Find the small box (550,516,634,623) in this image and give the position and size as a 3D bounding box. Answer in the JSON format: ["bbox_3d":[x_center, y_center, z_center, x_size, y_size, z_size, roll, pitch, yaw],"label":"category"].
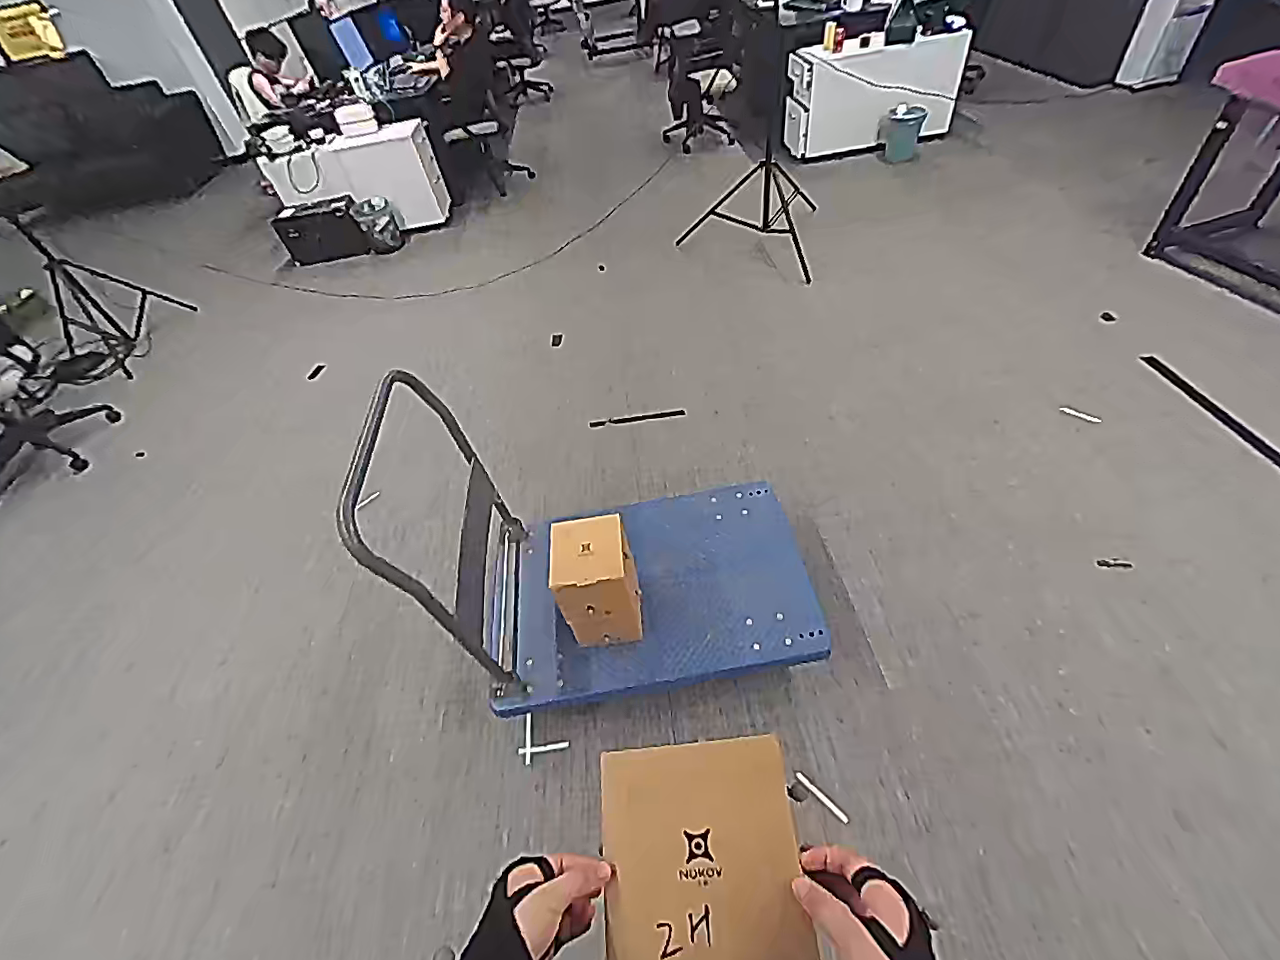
[{"bbox_3d":[-0.110,0.211,1.263,0.168,0.176,0.179,-9,48,2],"label":"small box"}]

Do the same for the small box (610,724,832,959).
[{"bbox_3d":[0.073,0.346,0.513,0.168,0.176,0.179,-11,57,9],"label":"small box"}]
